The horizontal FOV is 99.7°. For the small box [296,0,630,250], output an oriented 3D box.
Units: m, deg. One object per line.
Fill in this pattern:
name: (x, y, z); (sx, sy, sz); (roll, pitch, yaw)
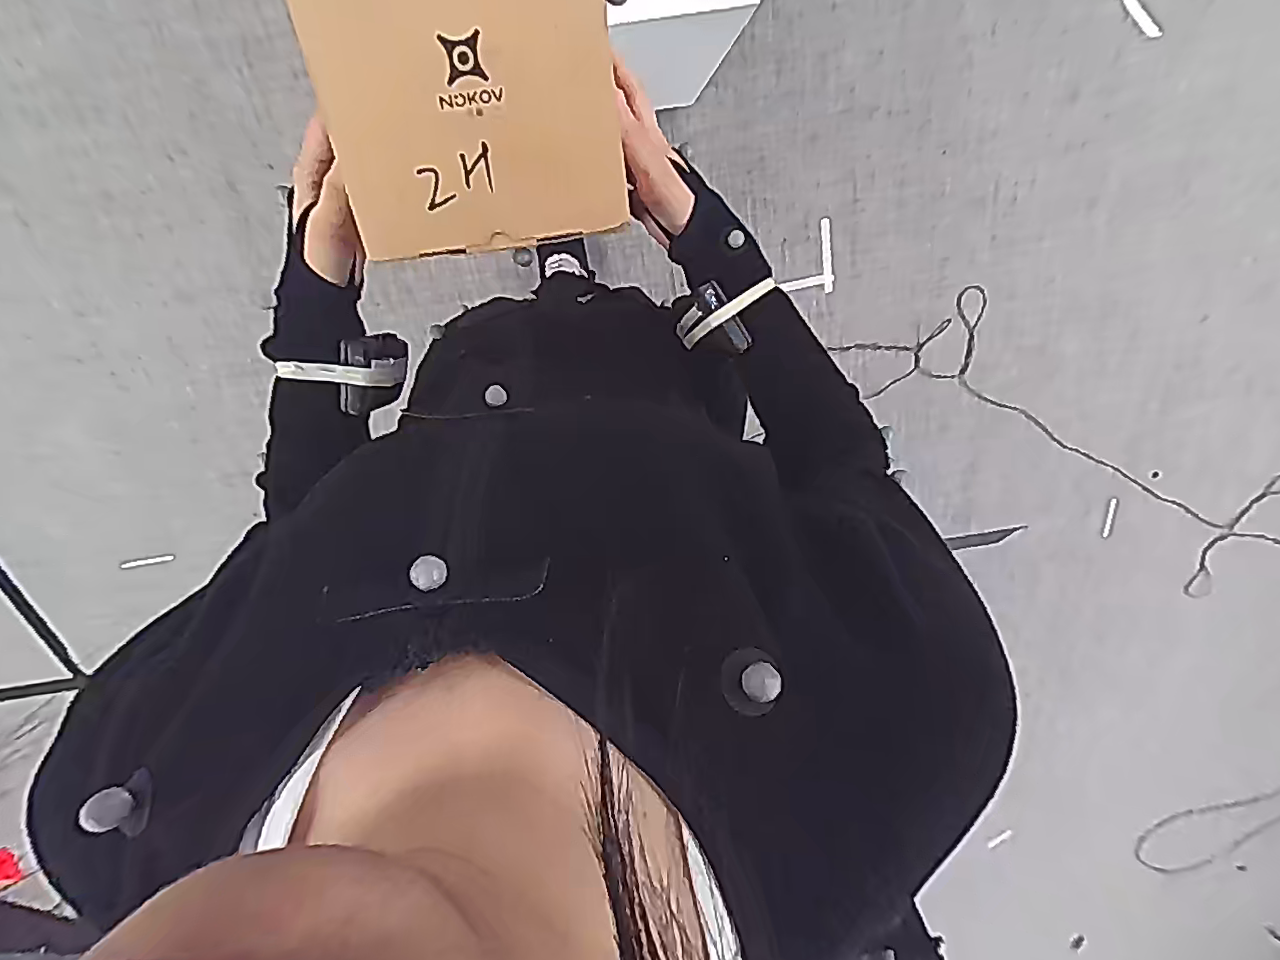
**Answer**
small box: (-0.102, -0.262, 0.372); (0.168, 0.176, 0.179); (-8, 115, -1)
